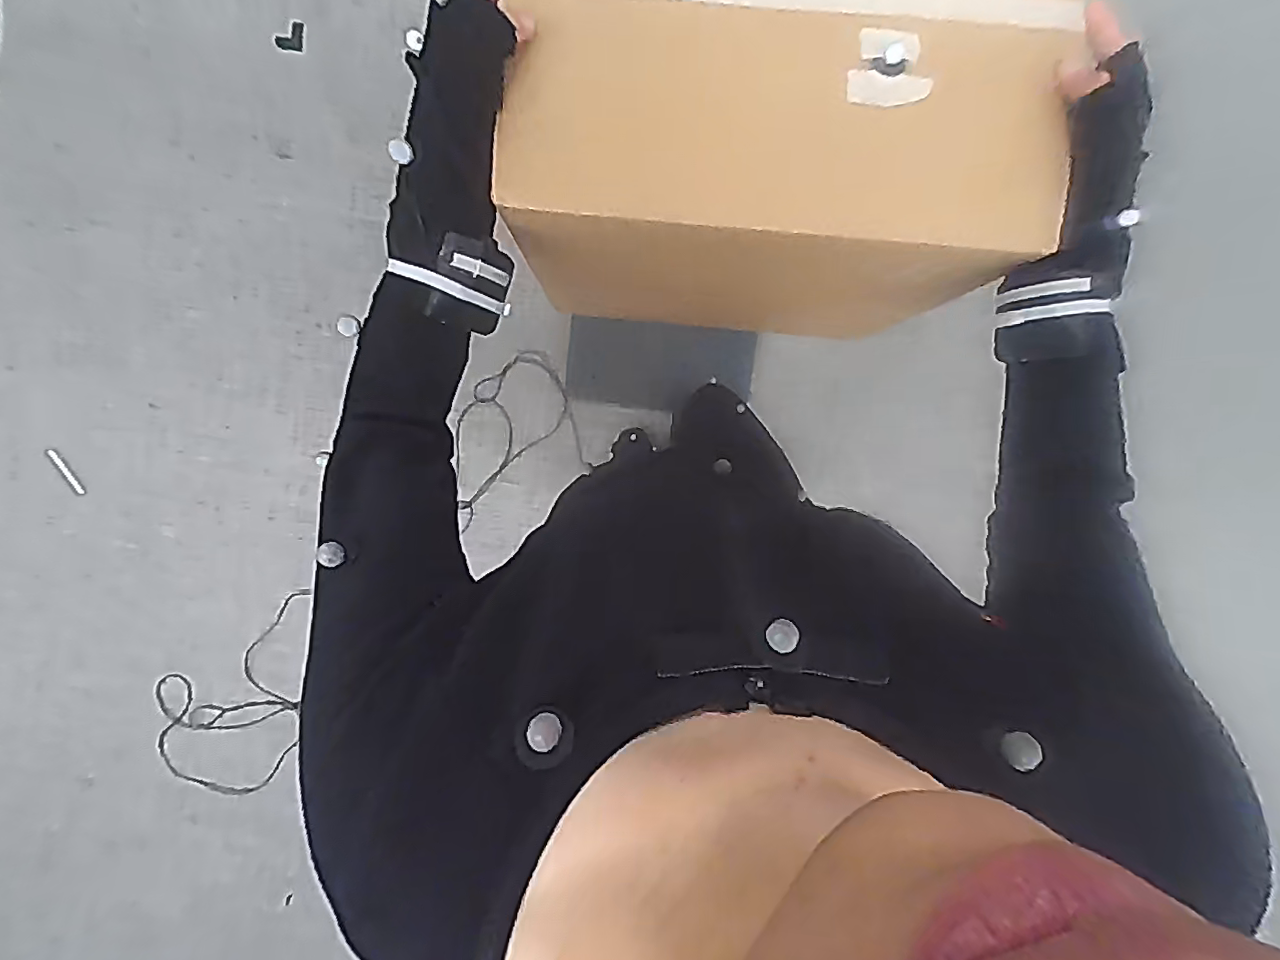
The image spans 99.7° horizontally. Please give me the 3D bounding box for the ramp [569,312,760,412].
[{"bbox_3d":[0.108,-0.689,1.347,0.509,0.206,0.991,5,95,-3],"label":"ramp"}]

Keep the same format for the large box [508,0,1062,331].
[{"bbox_3d":[0.104,-0.349,0.541,0.408,0.320,0.320,4,93,-1],"label":"large box"}]
